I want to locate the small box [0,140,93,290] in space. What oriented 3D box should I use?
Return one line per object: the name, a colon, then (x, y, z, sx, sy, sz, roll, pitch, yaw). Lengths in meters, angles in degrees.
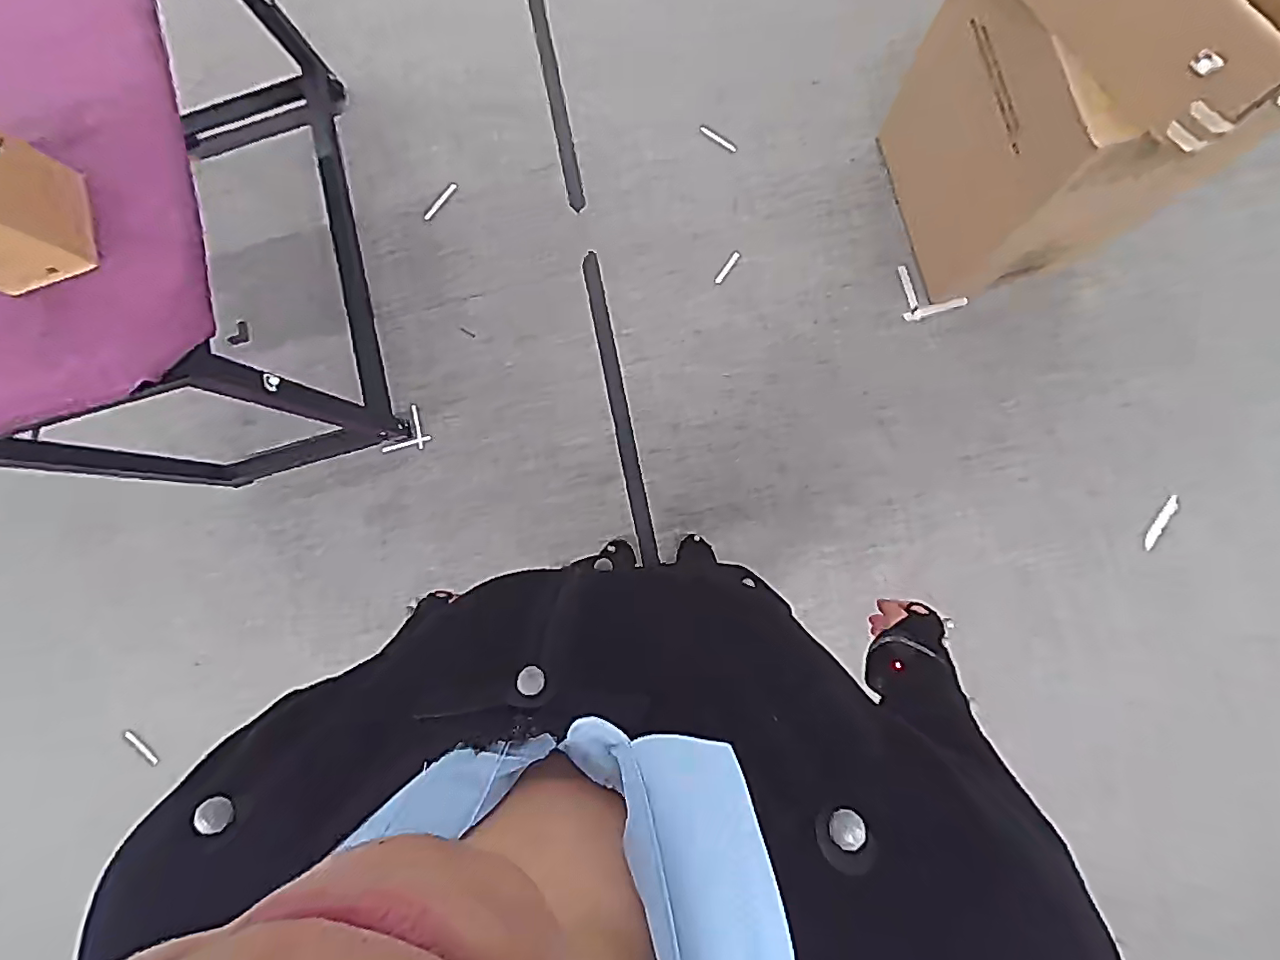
small box: (-1.019, -0.420, 0.846, 0.168, 0.176, 0.179, -17, 83, 4)
